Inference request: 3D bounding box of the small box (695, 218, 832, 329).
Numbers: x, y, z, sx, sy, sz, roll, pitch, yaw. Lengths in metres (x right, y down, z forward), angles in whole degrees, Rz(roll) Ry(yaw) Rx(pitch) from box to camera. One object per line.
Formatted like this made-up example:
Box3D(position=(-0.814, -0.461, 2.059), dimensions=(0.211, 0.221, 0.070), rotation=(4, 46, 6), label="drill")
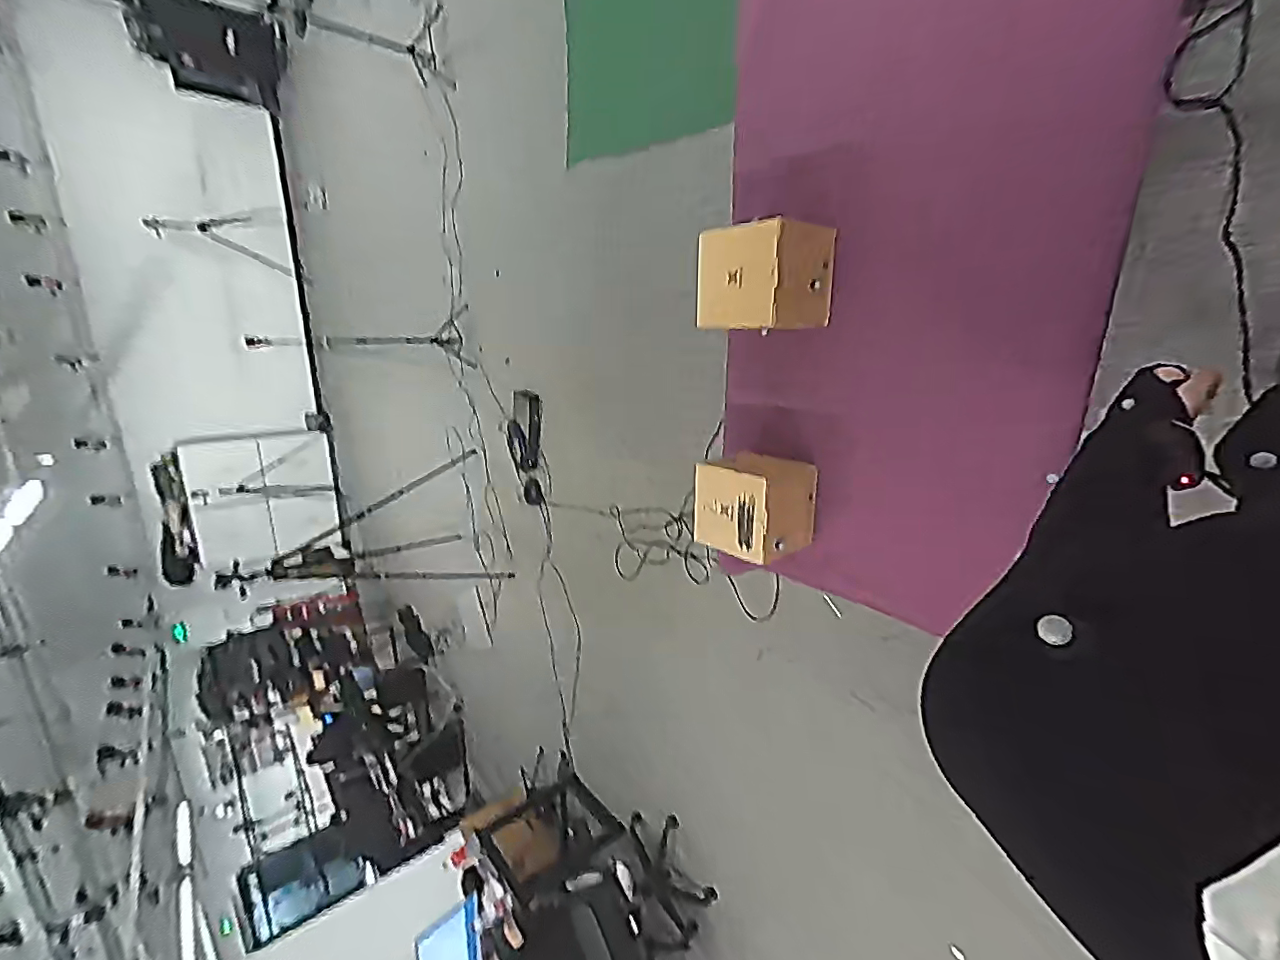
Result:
Box3D(position=(0.220, -0.362, 0.980), dimensions=(0.179, 0.176, 0.168), rotation=(15, 111, 47), label="small box")
